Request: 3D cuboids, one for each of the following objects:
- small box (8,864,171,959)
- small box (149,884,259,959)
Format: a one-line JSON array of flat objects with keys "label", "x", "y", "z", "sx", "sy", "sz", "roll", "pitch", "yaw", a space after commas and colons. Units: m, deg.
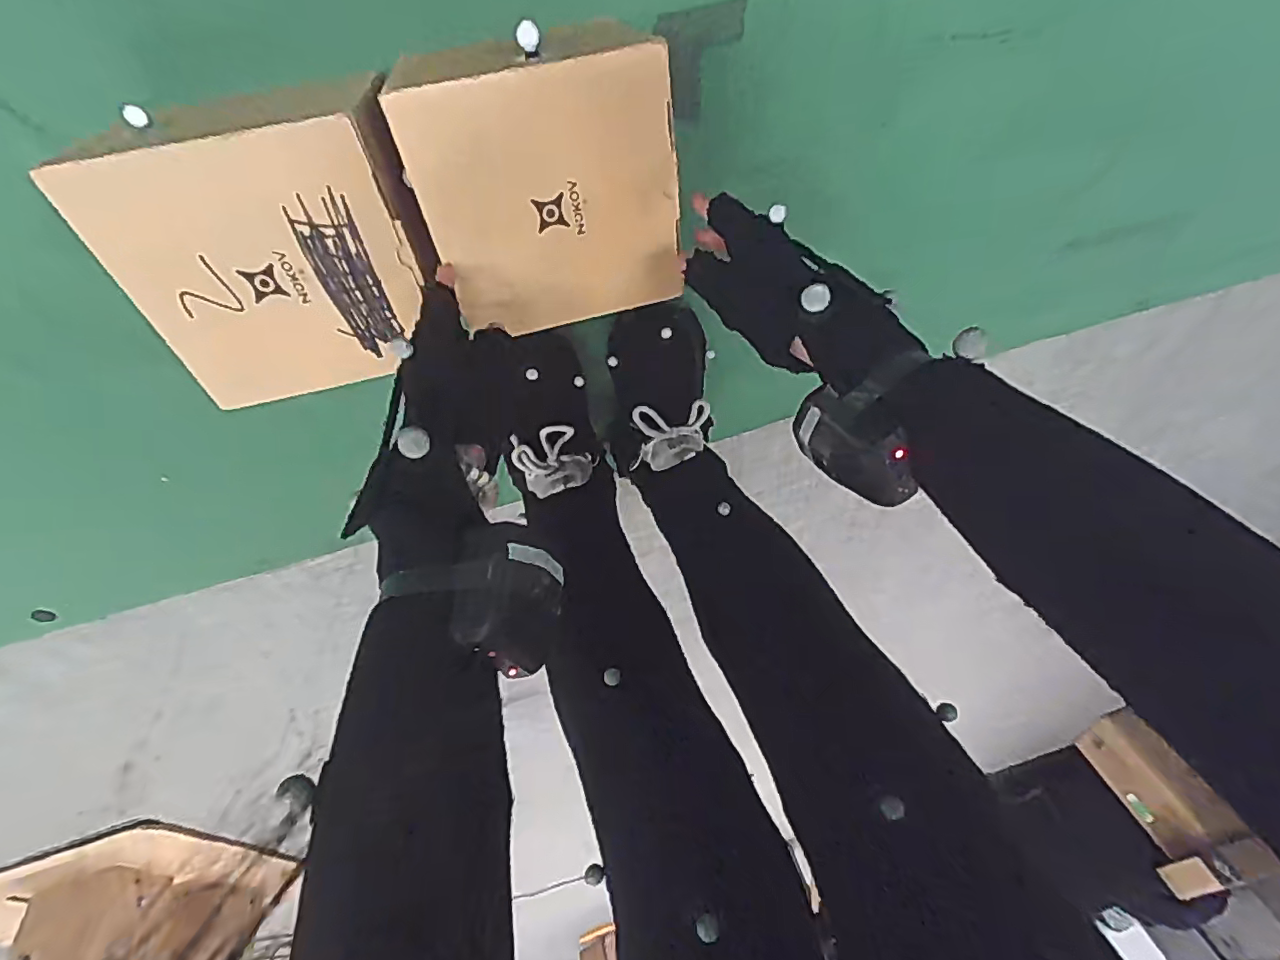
[{"label": "small box", "x": -1.156, "y": 0.948, "z": 1.141, "sx": 0.179, "sy": 0.176, "sz": 0.168, "roll": -16, "pitch": 137, "yaw": -6}, {"label": "small box", "x": -1.087, "y": 1.133, "z": 1.340, "sx": 0.179, "sy": 0.176, "sz": 0.168, "roll": -20, "pitch": 136, "yaw": -1}]
